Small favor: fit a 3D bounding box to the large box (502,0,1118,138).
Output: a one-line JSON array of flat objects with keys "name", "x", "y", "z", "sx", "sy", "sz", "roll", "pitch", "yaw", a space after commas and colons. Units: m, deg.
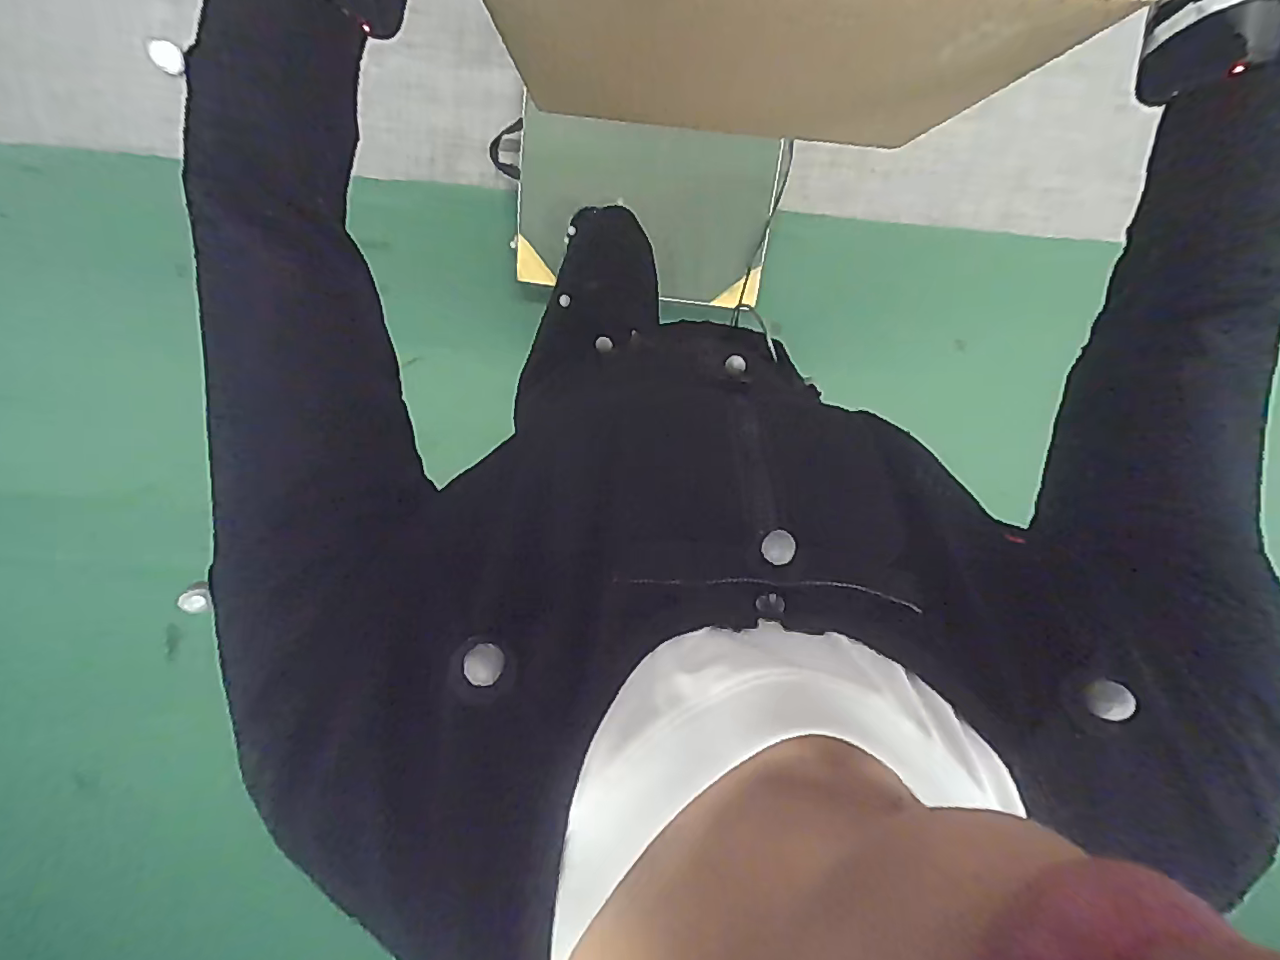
[{"name": "large box", "x": 0.103, "y": -0.487, "z": 0.408, "sx": 0.408, "sy": 0.320, "sz": 0.320, "roll": 3, "pitch": 109, "yaw": -3}]
